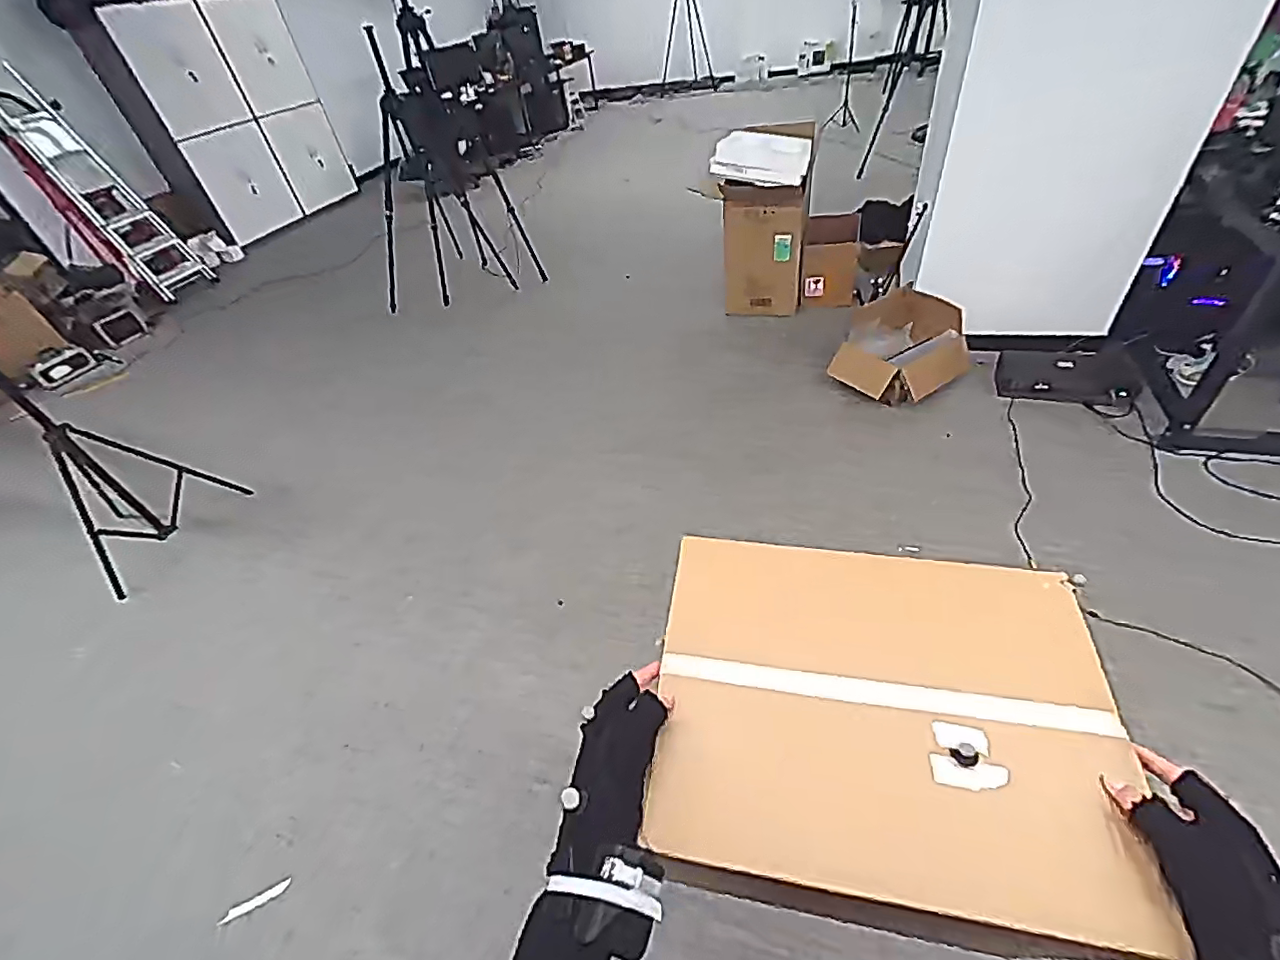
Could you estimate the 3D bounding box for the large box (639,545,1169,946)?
[{"bbox_3d":[0.229,0.302,0.631,0.408,0.320,0.320,5,51,11],"label":"large box"}]
